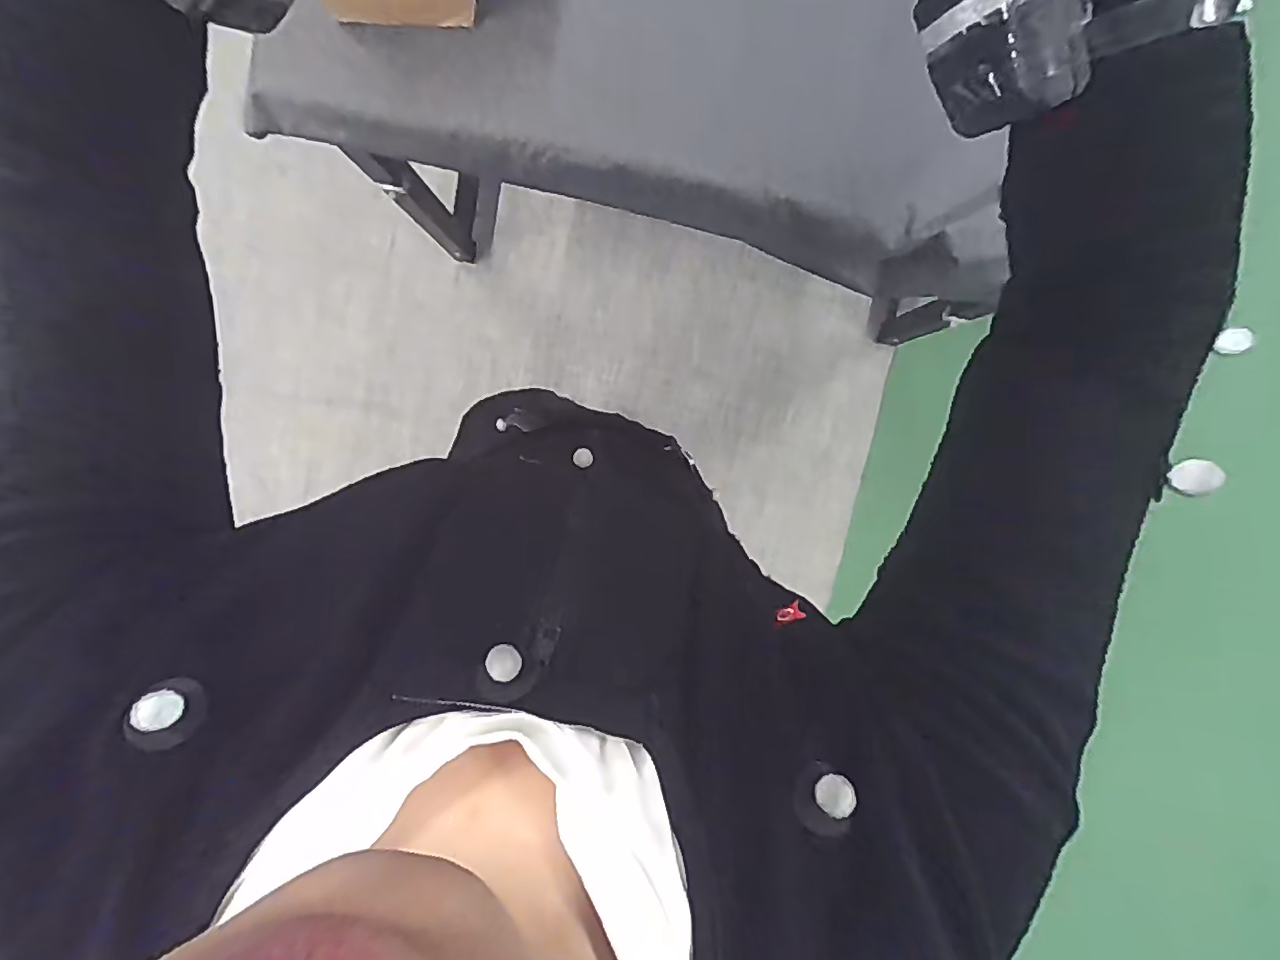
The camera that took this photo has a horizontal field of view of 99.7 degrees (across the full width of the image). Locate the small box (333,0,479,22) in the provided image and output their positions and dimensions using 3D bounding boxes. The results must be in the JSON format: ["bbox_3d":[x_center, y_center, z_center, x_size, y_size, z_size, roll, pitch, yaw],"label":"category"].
[{"bbox_3d":[-0.282,-0.643,0.583,0.179,0.176,0.168,1,96,-3],"label":"small box"}]
